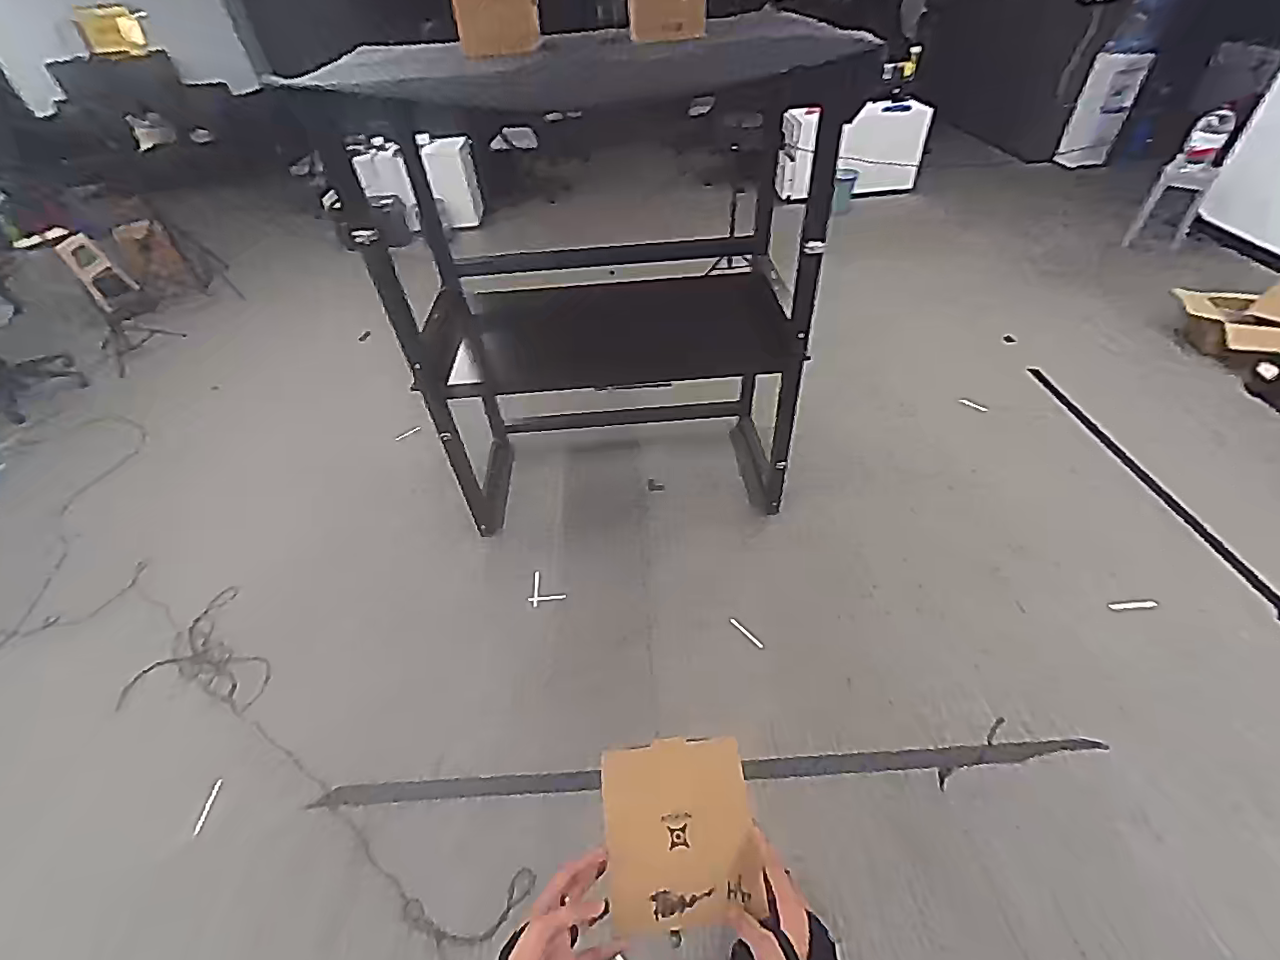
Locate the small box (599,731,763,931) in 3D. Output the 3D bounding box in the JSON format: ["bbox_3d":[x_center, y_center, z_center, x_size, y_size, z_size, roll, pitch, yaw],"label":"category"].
[{"bbox_3d":[0.044,0.429,0.667,0.168,0.176,0.179,-8,54,1],"label":"small box"}]

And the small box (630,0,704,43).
[{"bbox_3d":[0.061,-1.166,1.296,0.168,0.176,0.179,-5,45,-1],"label":"small box"}]

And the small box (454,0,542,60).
[{"bbox_3d":[-0.338,-1.134,1.300,0.179,0.176,0.168,-4,45,1],"label":"small box"}]
